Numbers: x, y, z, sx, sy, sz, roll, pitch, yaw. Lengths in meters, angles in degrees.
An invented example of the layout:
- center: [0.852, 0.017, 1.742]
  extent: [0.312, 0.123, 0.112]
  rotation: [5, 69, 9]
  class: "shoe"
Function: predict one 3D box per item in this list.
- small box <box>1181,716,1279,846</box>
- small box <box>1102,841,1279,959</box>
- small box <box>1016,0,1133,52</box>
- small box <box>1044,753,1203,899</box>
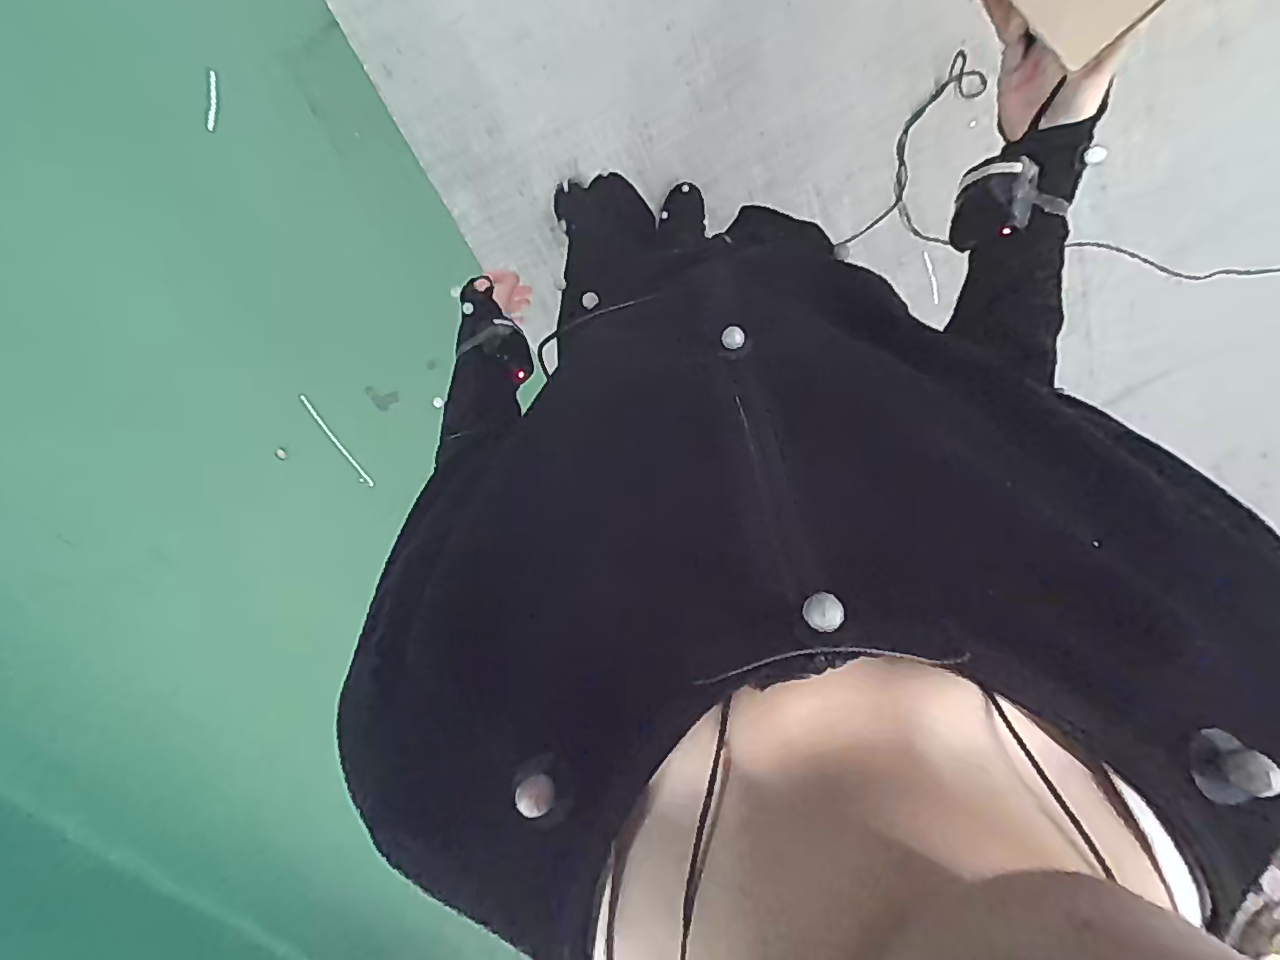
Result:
- center: [1.192, 0.576, 1.005]
  extent: [0.168, 0.176, 0.179]
  rotation: [37, 112, -18]
  class: "small box"
- center: [0.927, 0.739, 0.912]
  extent: [0.168, 0.176, 0.179]
  rotation: [-22, 118, 10]
  class: "small box"
- center: [0.280, -0.389, 0.301]
  extent: [0.176, 0.168, 0.179]
  rotation: [45, 138, -5]
  class: "small box"
- center: [0.935, 0.675, 1.061]
  extent: [0.168, 0.176, 0.179]
  rotation: [-21, 117, 10]
  class: "small box"
